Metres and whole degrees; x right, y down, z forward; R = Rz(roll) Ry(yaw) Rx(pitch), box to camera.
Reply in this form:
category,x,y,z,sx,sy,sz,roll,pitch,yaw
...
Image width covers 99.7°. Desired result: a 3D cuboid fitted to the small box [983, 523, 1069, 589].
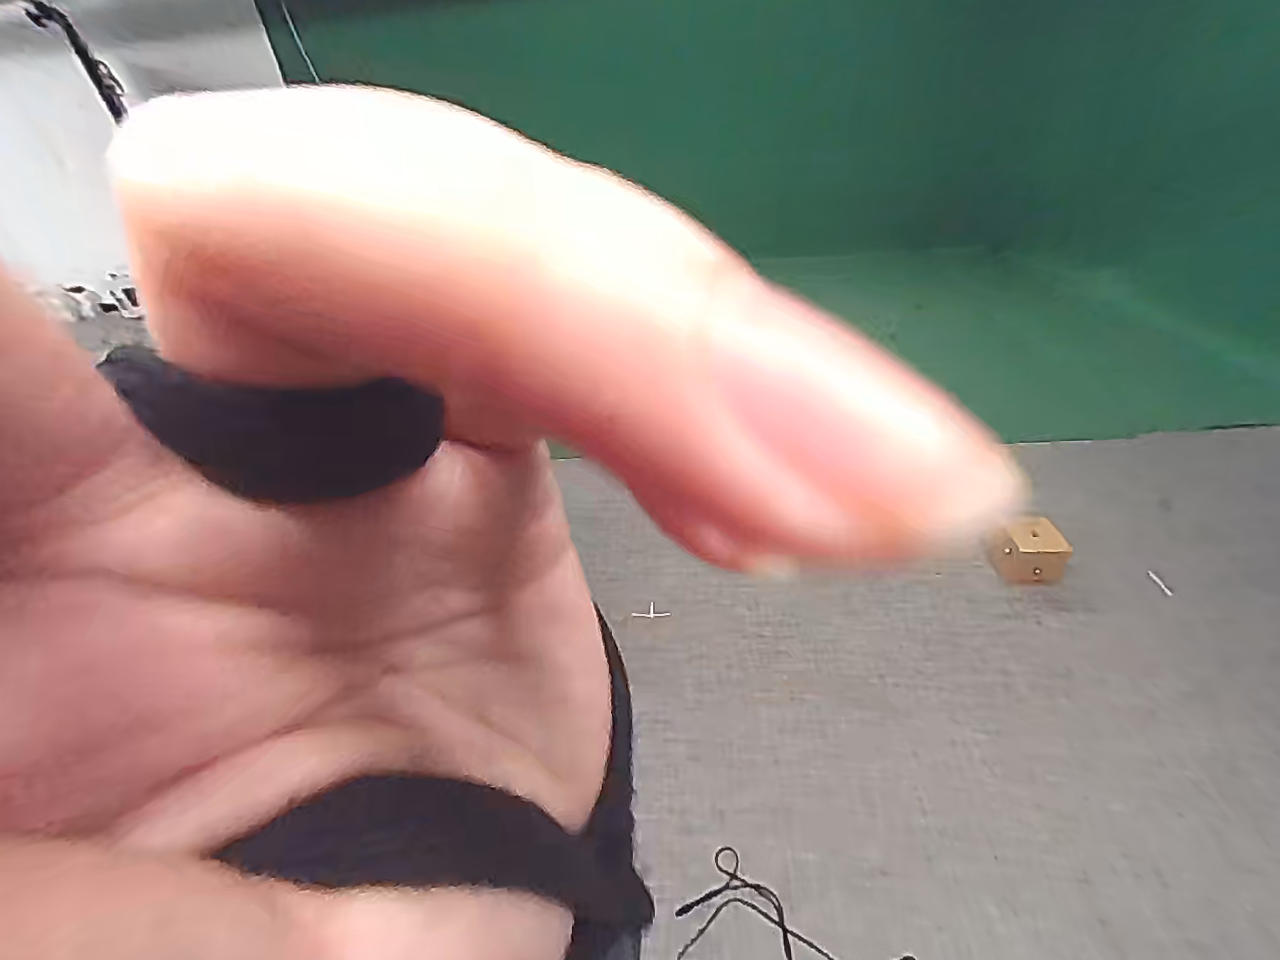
category,x,y,z,sx,sy,sz,roll,pitch,yaw
small box,1.352,0.270,1.907,0.168,0.176,0.179,-1,36,5
